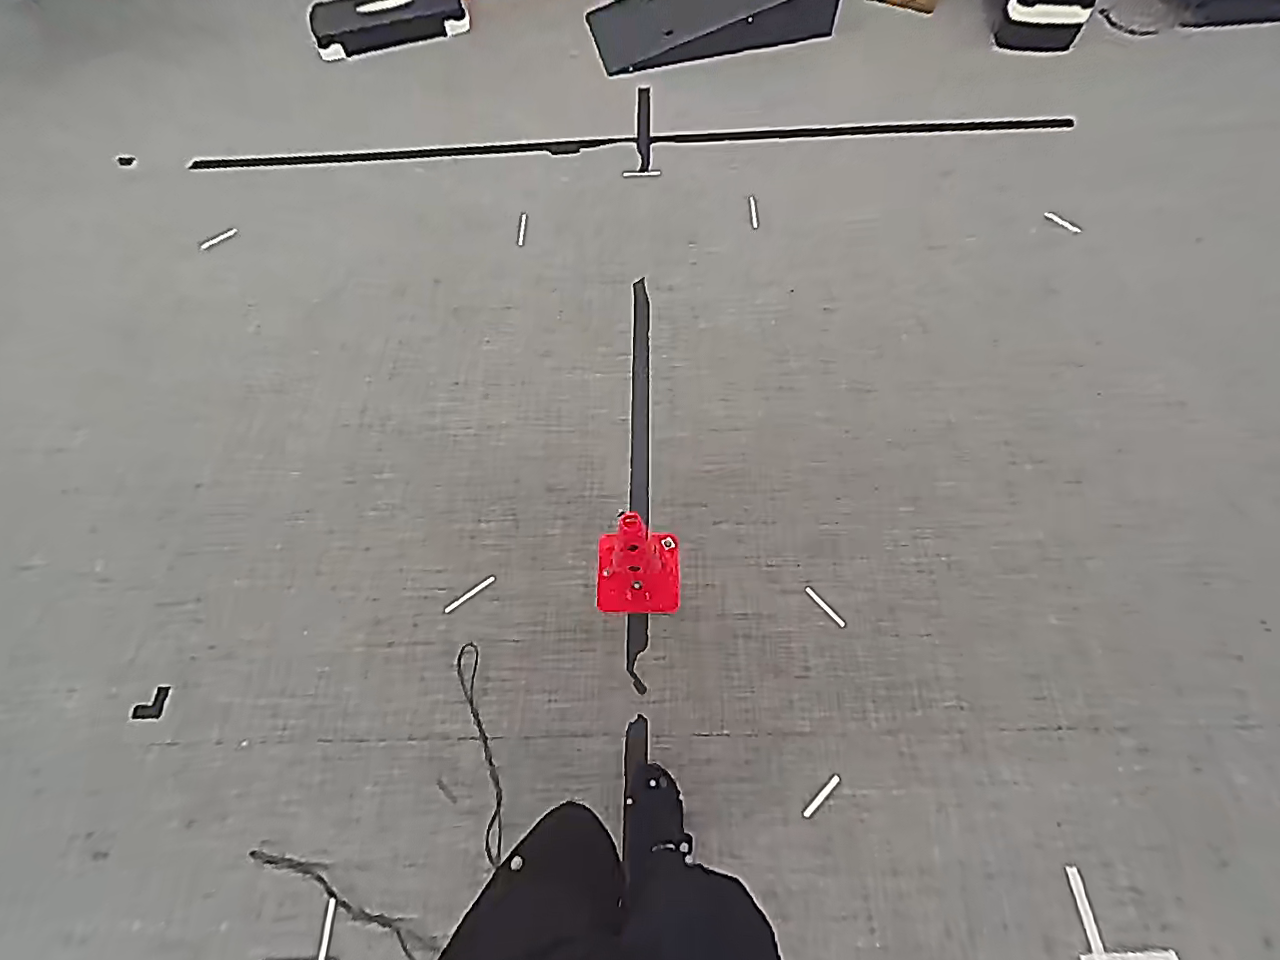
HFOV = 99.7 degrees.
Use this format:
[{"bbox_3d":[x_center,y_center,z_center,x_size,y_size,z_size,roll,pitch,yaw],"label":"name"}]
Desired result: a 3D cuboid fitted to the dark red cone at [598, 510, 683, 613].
[{"bbox_3d":[-0.009,0.150,1.154,0.201,0.394,0.202,-2,65,3],"label":"dark red cone"}]
